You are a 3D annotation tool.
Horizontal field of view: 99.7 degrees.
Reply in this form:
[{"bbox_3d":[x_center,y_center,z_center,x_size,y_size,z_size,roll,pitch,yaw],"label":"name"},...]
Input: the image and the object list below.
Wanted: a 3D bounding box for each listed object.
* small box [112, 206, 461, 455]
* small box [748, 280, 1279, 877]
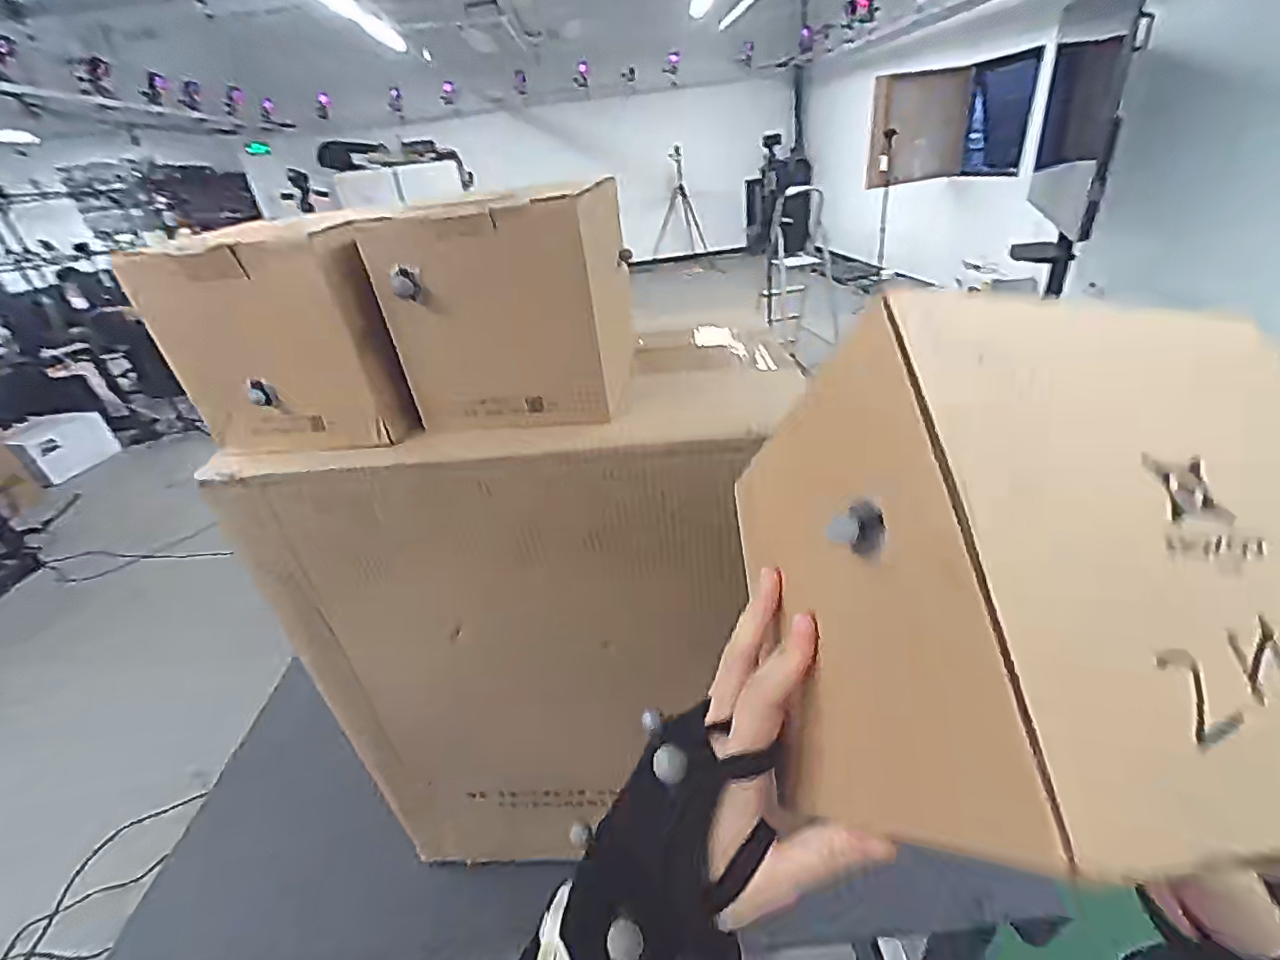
[{"bbox_3d":[-0.280,-0.136,0.484,0.168,0.176,0.179,-2,34,8],"label":"small box"},{"bbox_3d":[0.157,0.045,0.237,0.168,0.176,0.179,2,65,-9],"label":"small box"}]
